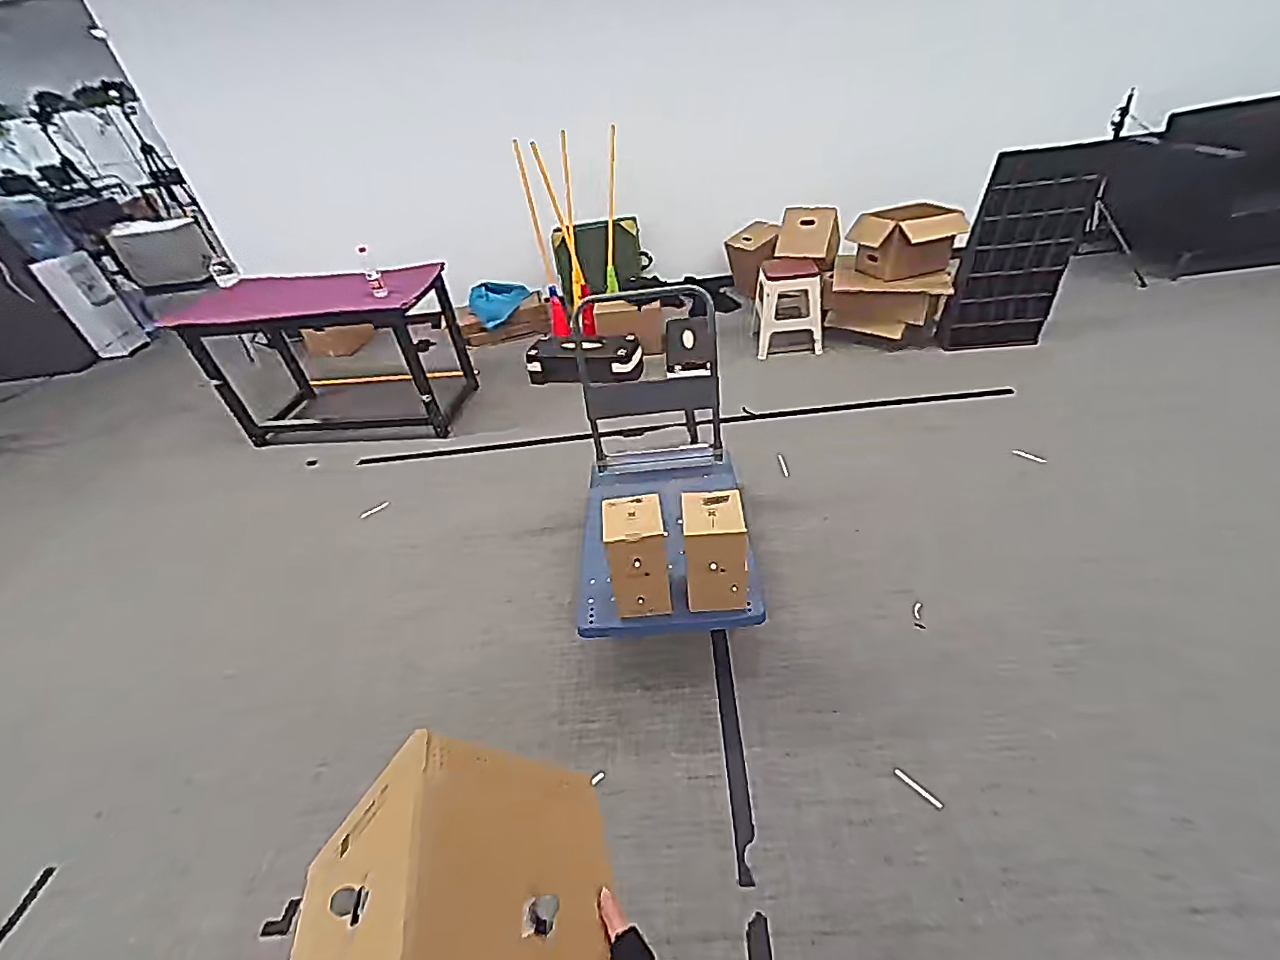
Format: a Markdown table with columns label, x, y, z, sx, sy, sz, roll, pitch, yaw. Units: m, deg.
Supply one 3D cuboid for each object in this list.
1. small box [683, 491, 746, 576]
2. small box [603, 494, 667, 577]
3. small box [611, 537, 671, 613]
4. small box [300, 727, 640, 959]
| label | x | y | z | sx | sy | sz | roll | pitch | yaw |
| --- | --- | --- | --- | --- | --- | --- | --- | --- | --- |
| small box | 0.206 | 0.151 | 1.534 | 0.168 | 0.176 | 0.179 | -3 | 39 | 5 |
| small box | -0.014 | 0.165 | 1.552 | 0.168 | 0.176 | 0.179 | -6 | 39 | 1 |
| small box | 0.004 | 0.293 | 1.655 | 0.168 | 0.176 | 0.179 | -5 | 38 | 2 |
| small box | -0.133 | 0.321 | 0.408 | 0.168 | 0.179 | 0.176 | -51 | 30 | 9 |
